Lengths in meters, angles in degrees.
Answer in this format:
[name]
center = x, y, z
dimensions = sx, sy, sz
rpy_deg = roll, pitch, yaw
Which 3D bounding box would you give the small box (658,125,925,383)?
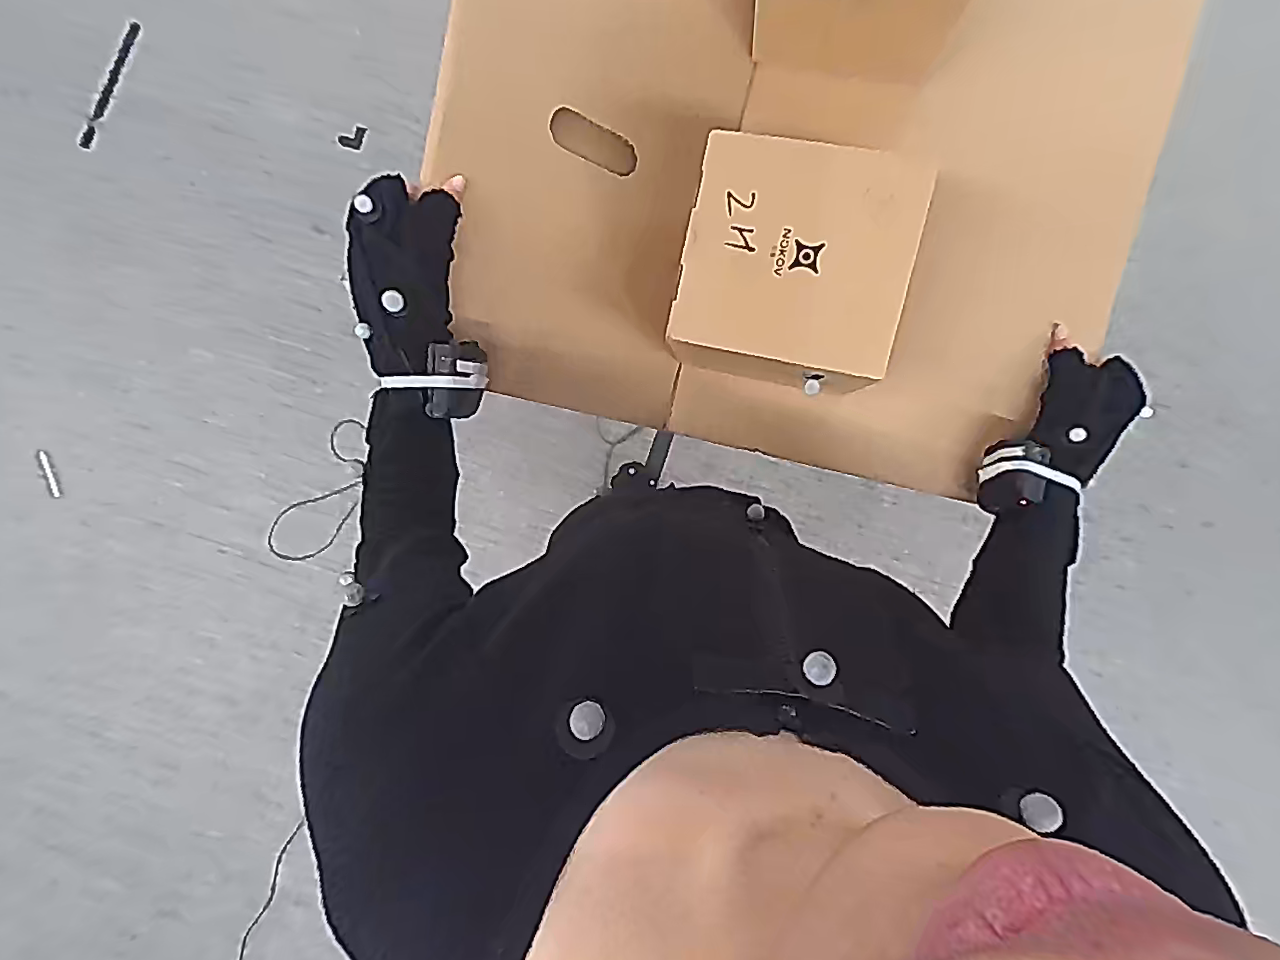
[small box]
center = 0.129, -0.191, 0.506
dimensions = 0.179, 0.176, 0.168
rpy_deg = 14, 96, 9
